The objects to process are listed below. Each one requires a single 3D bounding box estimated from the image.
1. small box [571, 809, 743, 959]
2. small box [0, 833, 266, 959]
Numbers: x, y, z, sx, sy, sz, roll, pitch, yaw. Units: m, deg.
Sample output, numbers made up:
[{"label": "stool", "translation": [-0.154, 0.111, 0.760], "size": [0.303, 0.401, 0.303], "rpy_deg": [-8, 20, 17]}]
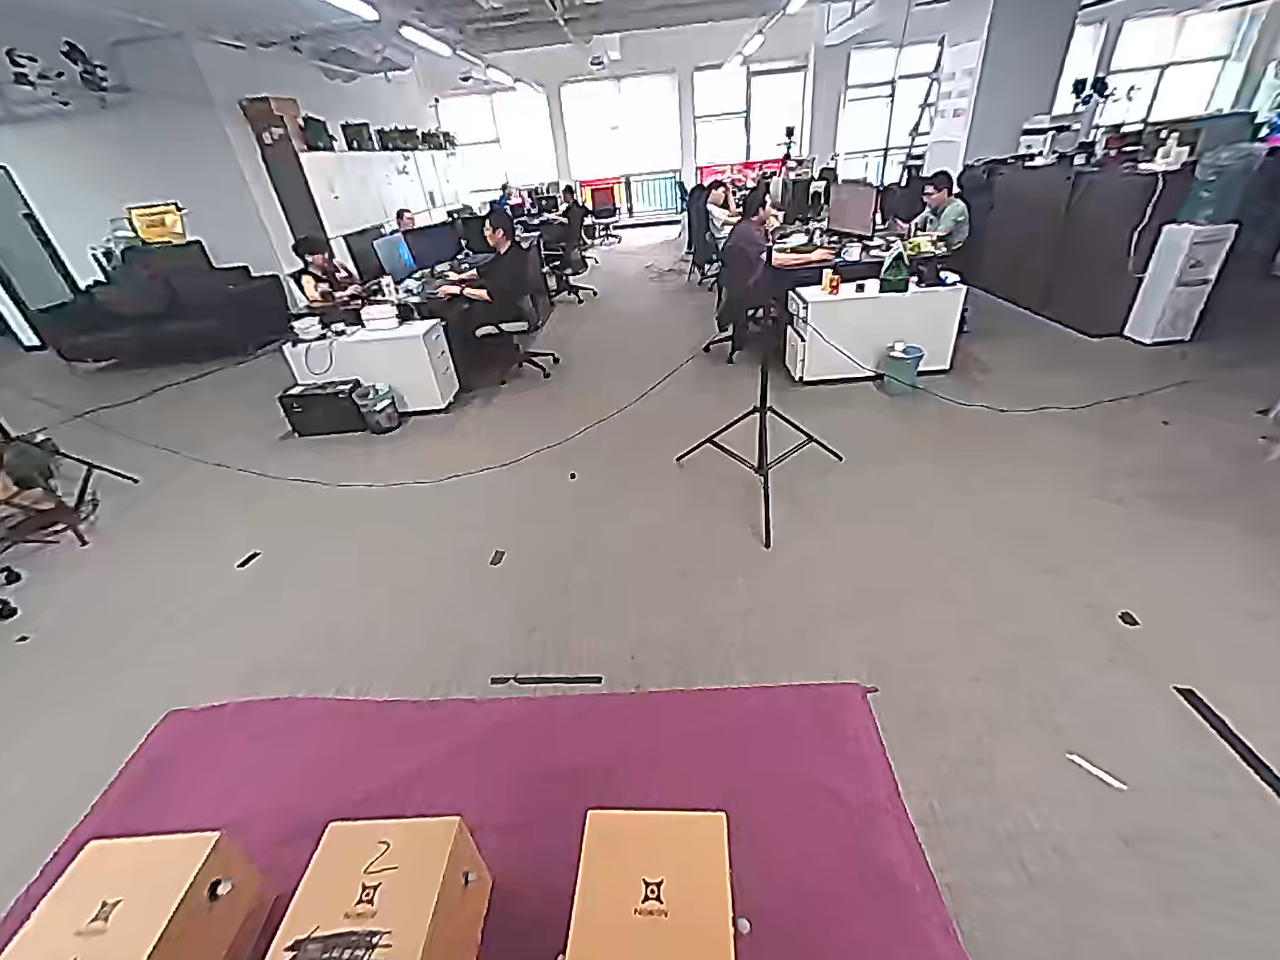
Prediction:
[{"label": "small box", "translation": [0.025, 0.498, 0.595], "size": [0.168, 0.176, 0.179], "rpy_deg": [-3, 30, 6]}, {"label": "small box", "translation": [-0.575, 0.545, 0.622], "size": [0.168, 0.176, 0.179], "rpy_deg": [-5, 31, 1]}]
